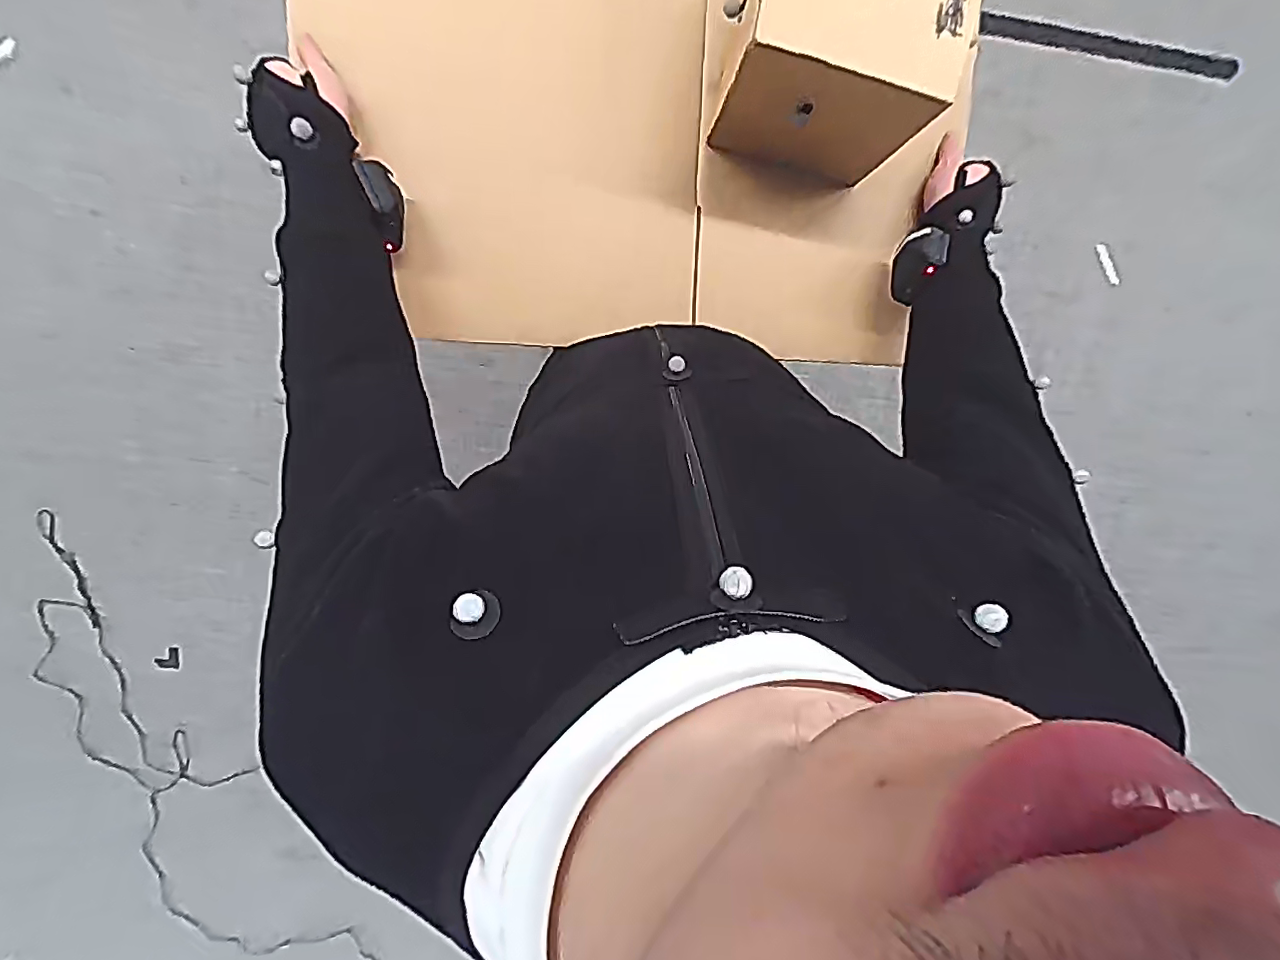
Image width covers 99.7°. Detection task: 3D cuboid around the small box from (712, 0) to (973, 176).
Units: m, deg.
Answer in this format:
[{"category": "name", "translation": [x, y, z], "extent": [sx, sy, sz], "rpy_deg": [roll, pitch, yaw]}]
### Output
[{"category": "small box", "translation": [0.178, -0.416, 0.505], "extent": [0.179, 0.176, 0.168], "rpy_deg": [12, 97, -6]}]
